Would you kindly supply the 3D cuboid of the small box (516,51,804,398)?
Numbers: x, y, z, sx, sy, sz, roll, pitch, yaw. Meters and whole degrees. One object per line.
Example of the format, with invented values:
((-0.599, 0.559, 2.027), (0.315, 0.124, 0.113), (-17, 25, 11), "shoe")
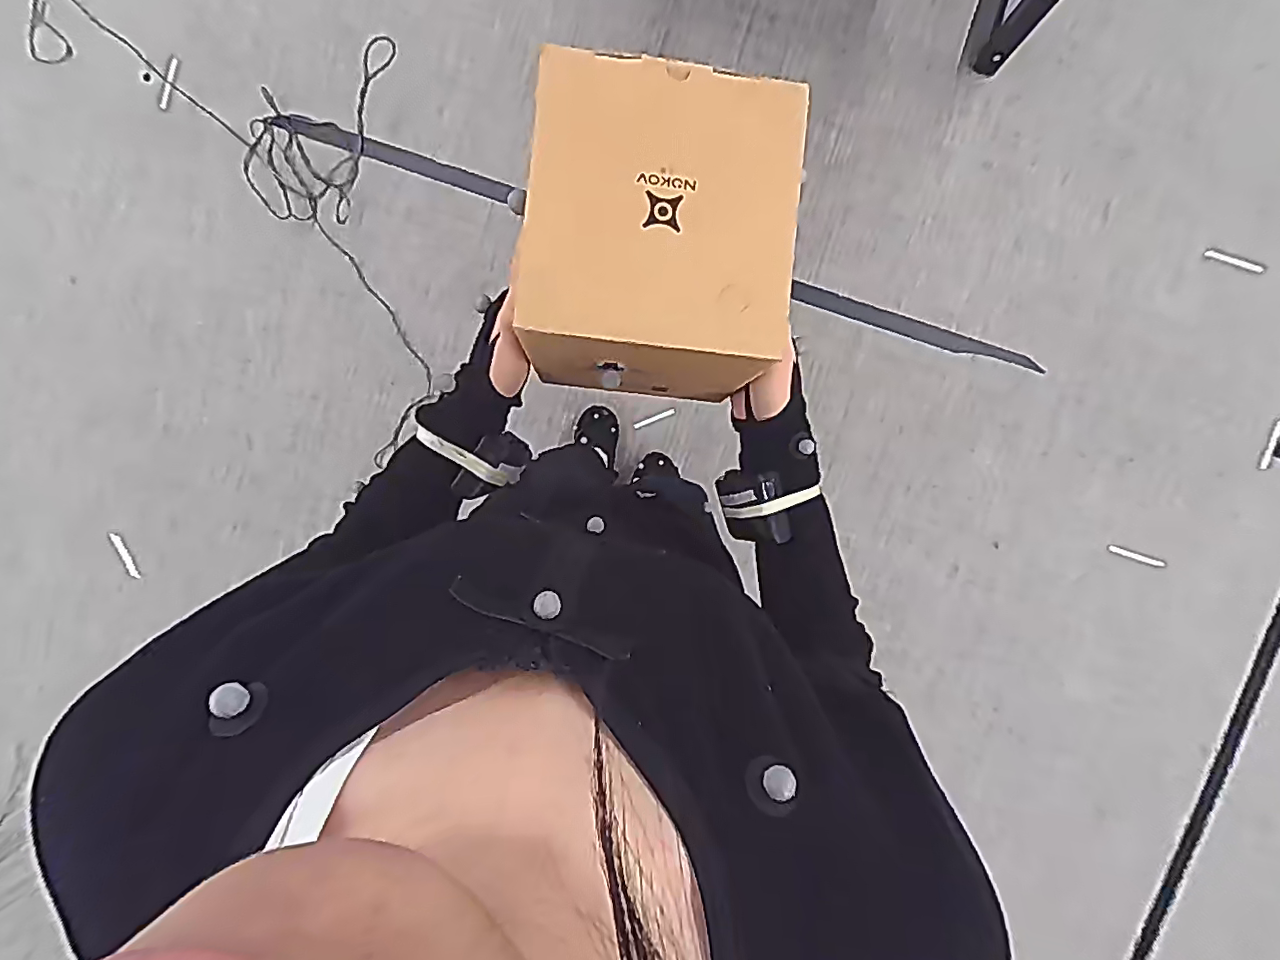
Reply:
((0.009, -0.166, 0.412), (0.168, 0.176, 0.179), (6, 87, -4), "small box")
